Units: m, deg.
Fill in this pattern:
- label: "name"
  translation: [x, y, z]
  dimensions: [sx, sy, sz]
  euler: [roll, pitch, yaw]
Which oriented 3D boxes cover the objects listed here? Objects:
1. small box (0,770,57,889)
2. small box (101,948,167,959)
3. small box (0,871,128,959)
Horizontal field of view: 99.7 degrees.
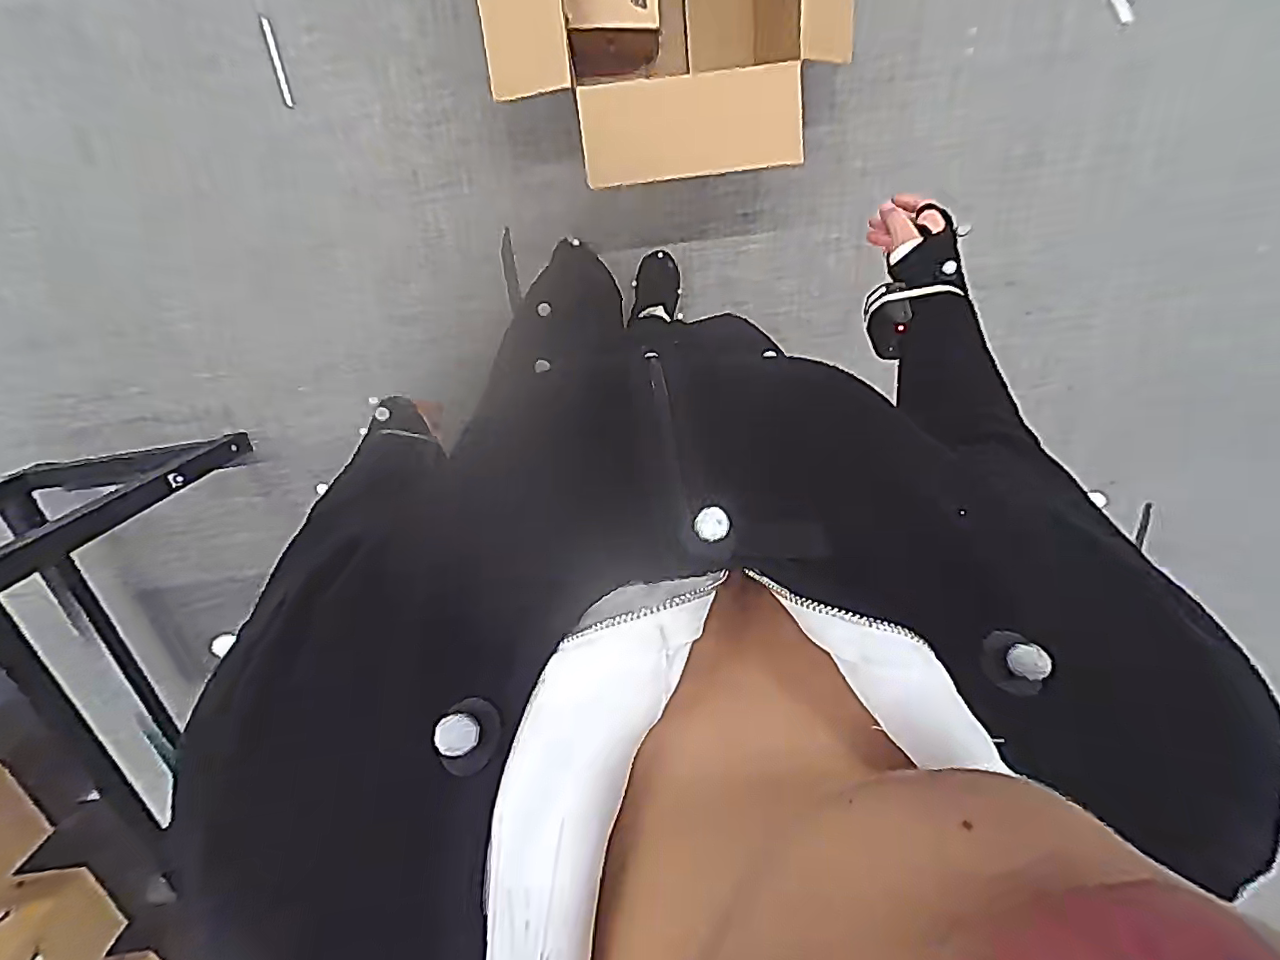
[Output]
- label: "small box"
  translation: [-1.126, 0.586, 0.863]
  dimensions: [0.168, 0.176, 0.179]
  euler: [-7, 114, 1]
- label: "small box"
  translation: [-1.066, 1.085, 1.079]
  dimensions: [0.168, 0.176, 0.179]
  euler: [-9, 114, 1]
- label: "small box"
  translation: [-1.098, 0.836, 0.970]
  dimensions: [0.168, 0.176, 0.179]
  euler: [-6, 114, 0]
